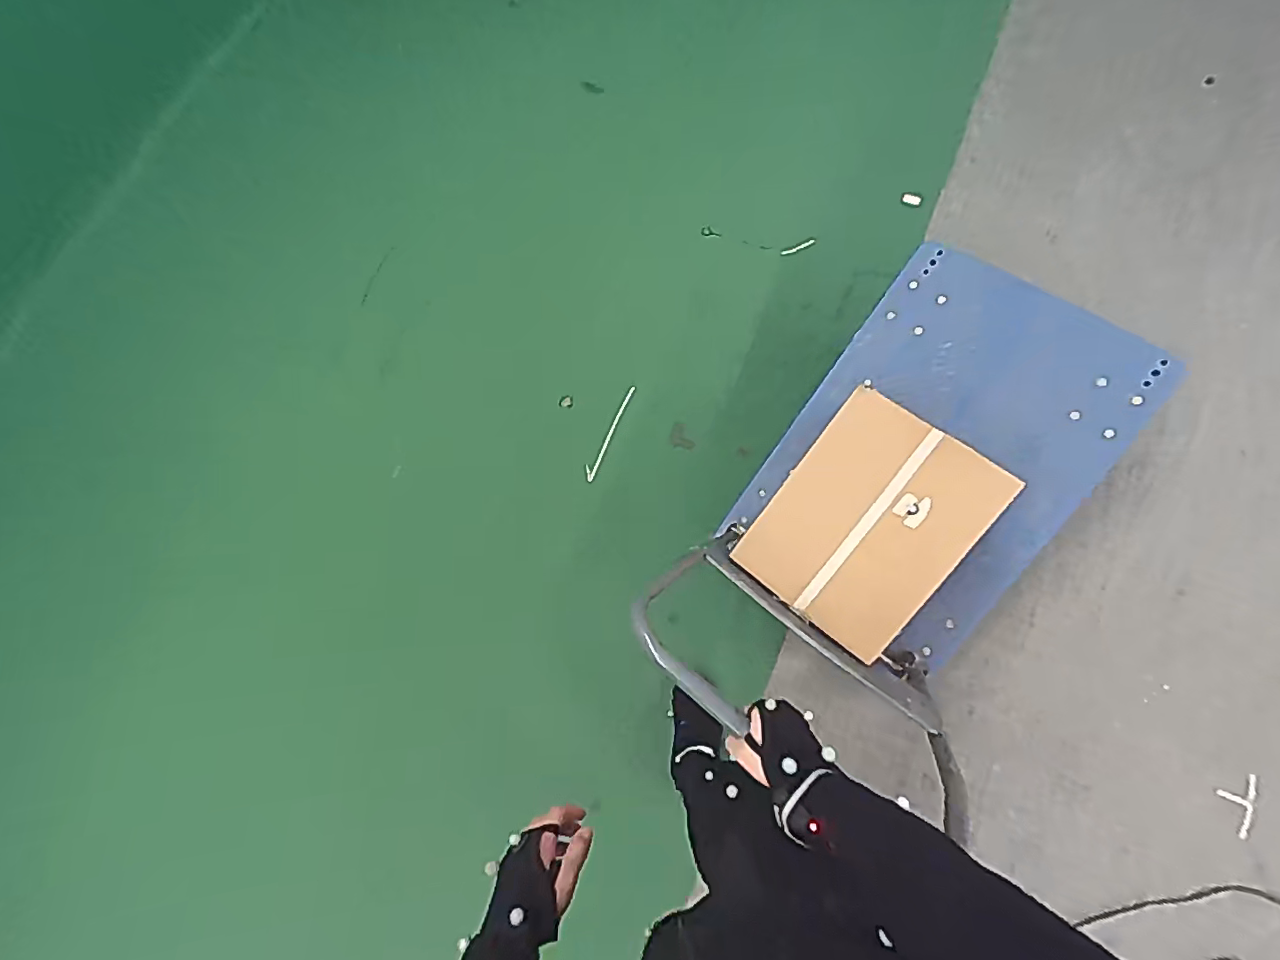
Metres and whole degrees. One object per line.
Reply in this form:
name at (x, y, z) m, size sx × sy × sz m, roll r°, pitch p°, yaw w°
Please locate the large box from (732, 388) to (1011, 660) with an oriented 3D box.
large box at (0.448, 0.088, 1.118) m, size 0.320 × 0.320 × 0.408 m, roll 38°, pitch 99°, yaw 17°
